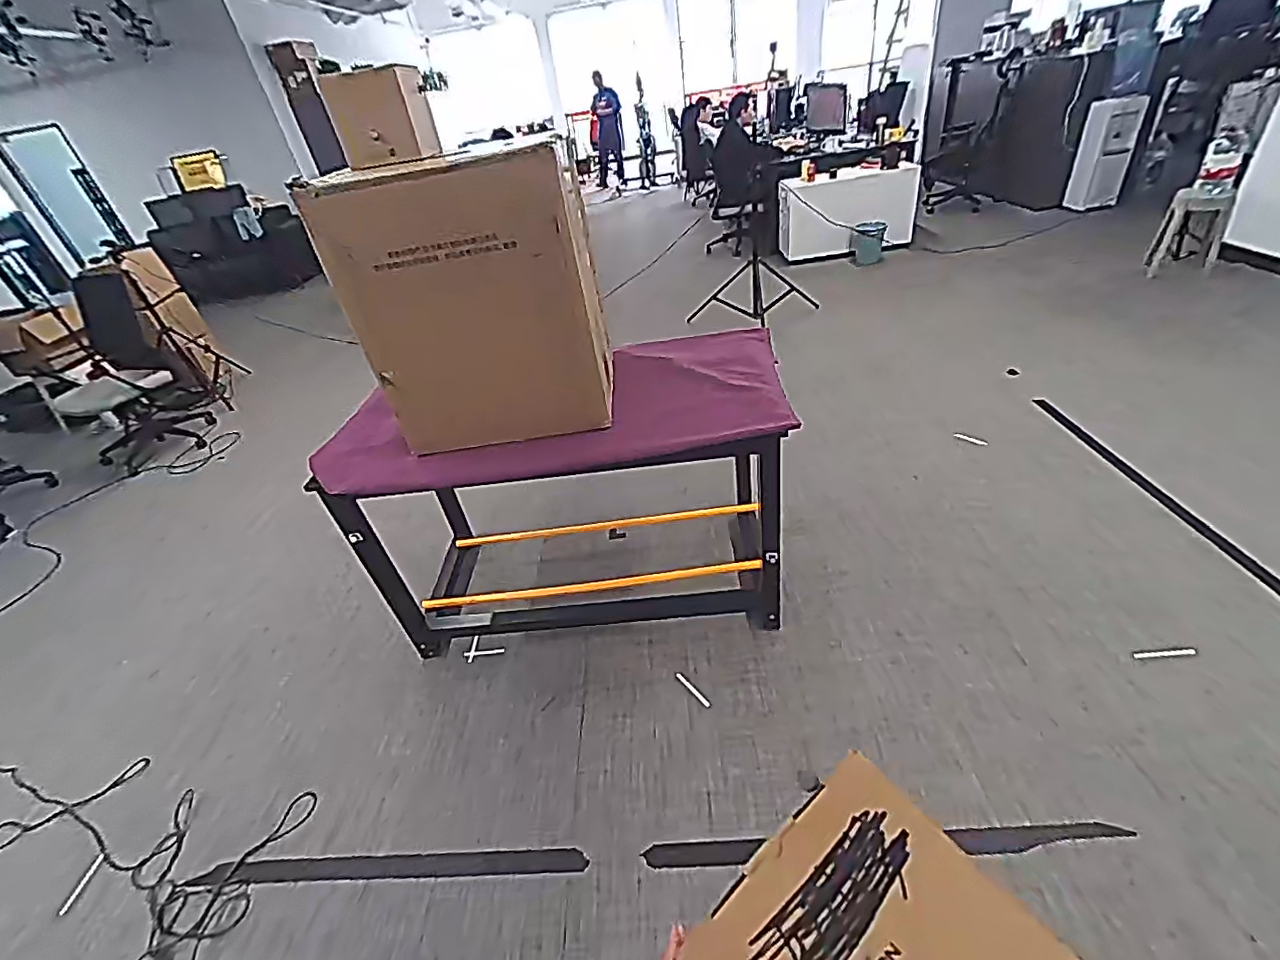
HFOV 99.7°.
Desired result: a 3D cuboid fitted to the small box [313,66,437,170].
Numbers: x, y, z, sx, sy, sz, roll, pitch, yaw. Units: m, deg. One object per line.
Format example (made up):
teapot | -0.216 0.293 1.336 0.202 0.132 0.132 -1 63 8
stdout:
small box | -0.571 -0.796 1.195 0.168 0.176 0.179 -8 36 3
